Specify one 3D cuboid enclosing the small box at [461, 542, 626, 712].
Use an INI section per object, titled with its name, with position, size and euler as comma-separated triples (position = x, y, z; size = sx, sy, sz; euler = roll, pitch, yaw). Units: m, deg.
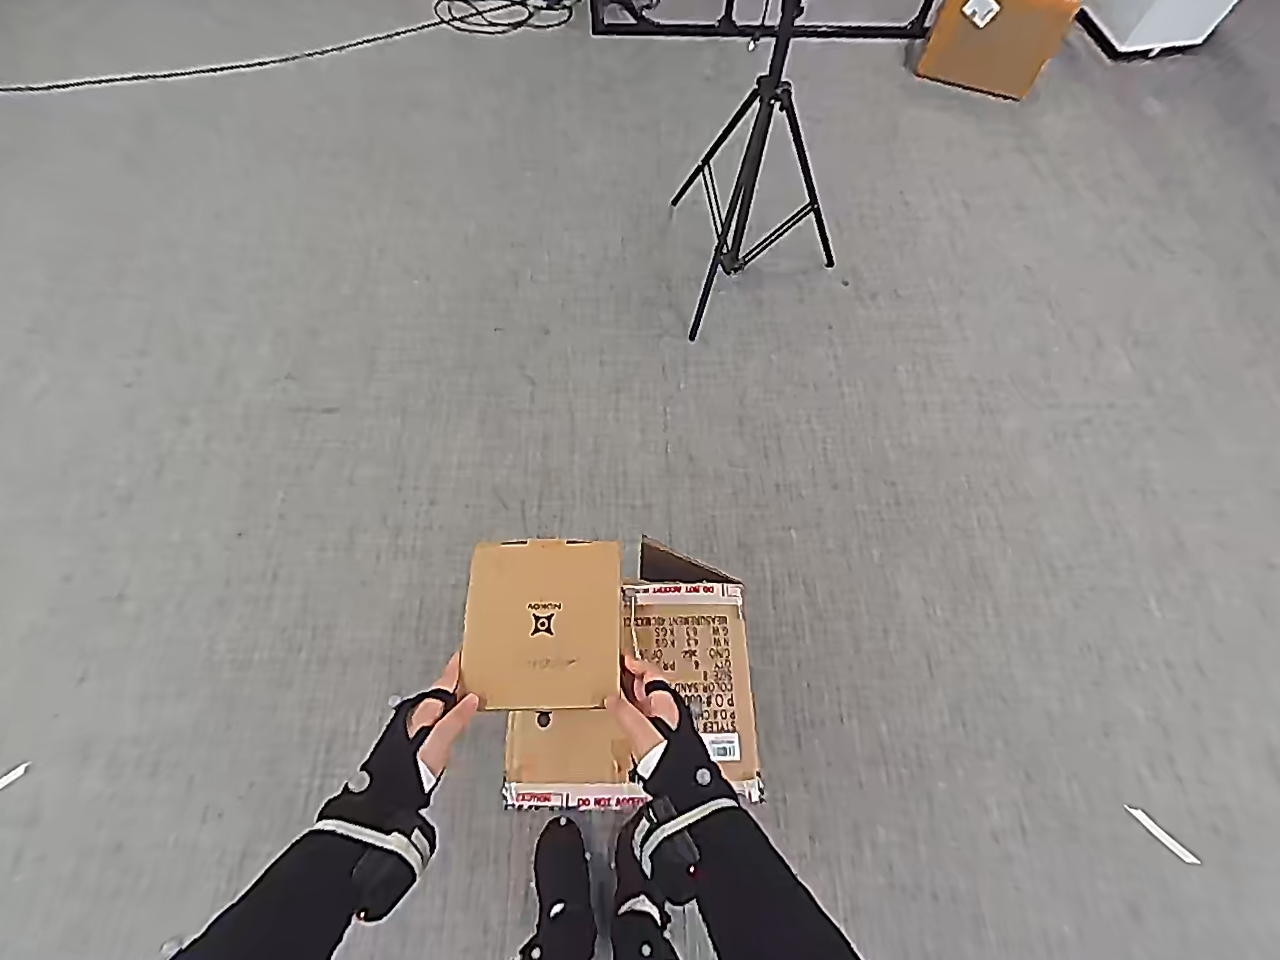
[small box]
position = -0.101, 0.181, 0.648
size = 0.168, 0.176, 0.179
euler = -2, 68, -1
